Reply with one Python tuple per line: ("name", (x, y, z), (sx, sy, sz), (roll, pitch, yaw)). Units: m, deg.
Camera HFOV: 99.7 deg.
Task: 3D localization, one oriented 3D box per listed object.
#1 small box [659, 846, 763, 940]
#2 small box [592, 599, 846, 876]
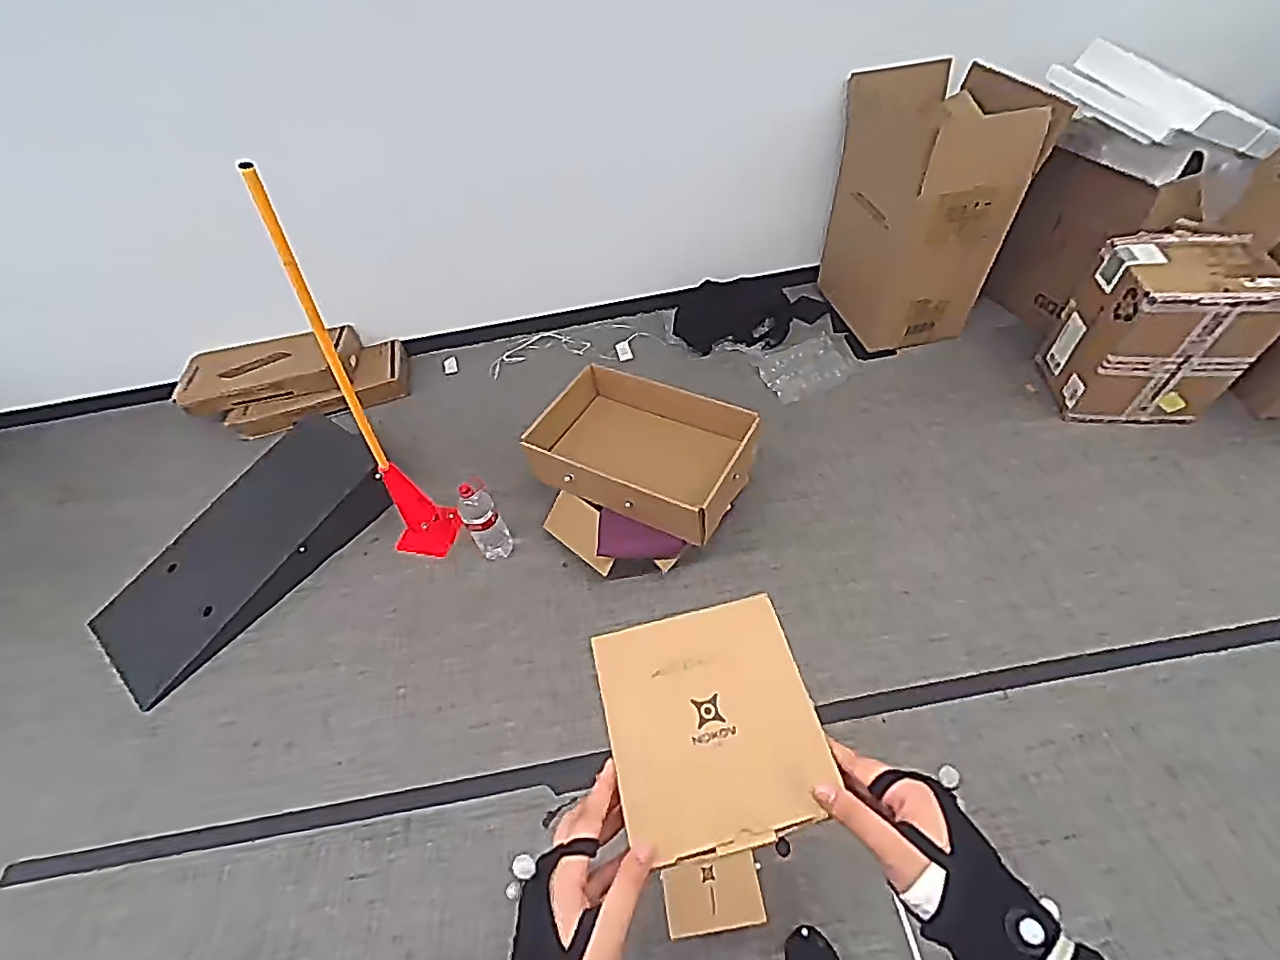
("small box", (0.121, 0.732, 1.006), (0.168, 0.176, 0.179), (-9, 51, 0))
("small box", (0.060, 0.238, 0.499), (0.168, 0.176, 0.179), (-13, 54, -6))
